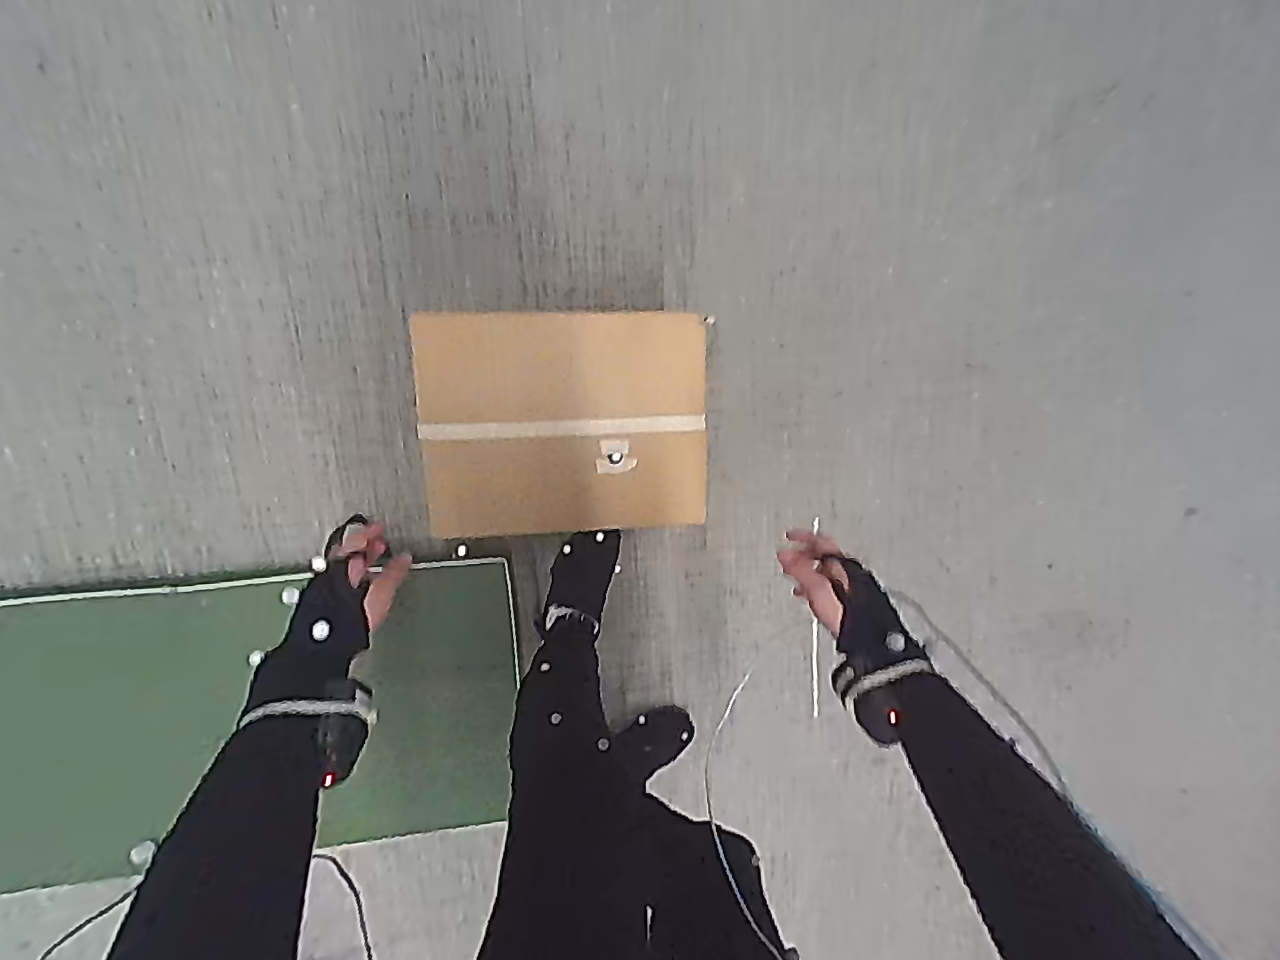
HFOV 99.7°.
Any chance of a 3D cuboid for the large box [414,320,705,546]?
[{"bbox_3d":[-0.125,-0.093,0.919,0.408,0.320,0.320,-3,102,-8],"label":"large box"}]
